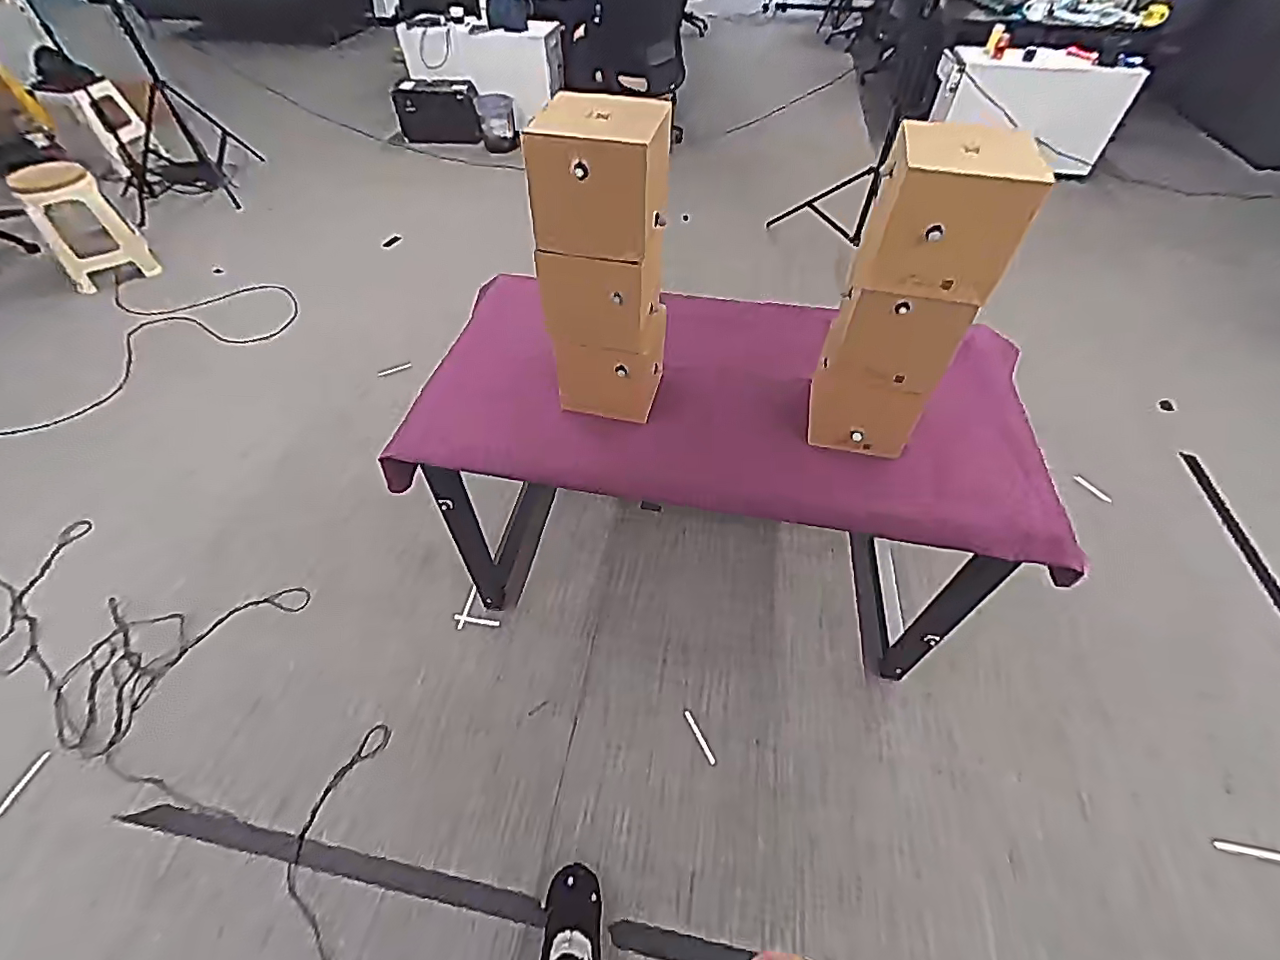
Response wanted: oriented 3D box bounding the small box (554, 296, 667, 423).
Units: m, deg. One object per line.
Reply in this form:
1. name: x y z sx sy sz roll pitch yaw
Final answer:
1. small box: -0.052 -0.232 1.059 0.179 0.176 0.168 11 50 8

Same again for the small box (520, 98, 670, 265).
1. small box: -0.058 -0.444 0.810 0.179 0.176 0.168 10 52 7

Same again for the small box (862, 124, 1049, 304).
1. small box: 0.418 -0.367 0.751 0.168 0.176 0.179 11 51 10

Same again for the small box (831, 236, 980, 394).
1. small box: 0.418 -0.268 0.880 0.168 0.176 0.179 11 50 10

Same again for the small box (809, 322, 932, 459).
1. small box: 0.418 -0.167 1.009 0.168 0.176 0.179 10 51 8
